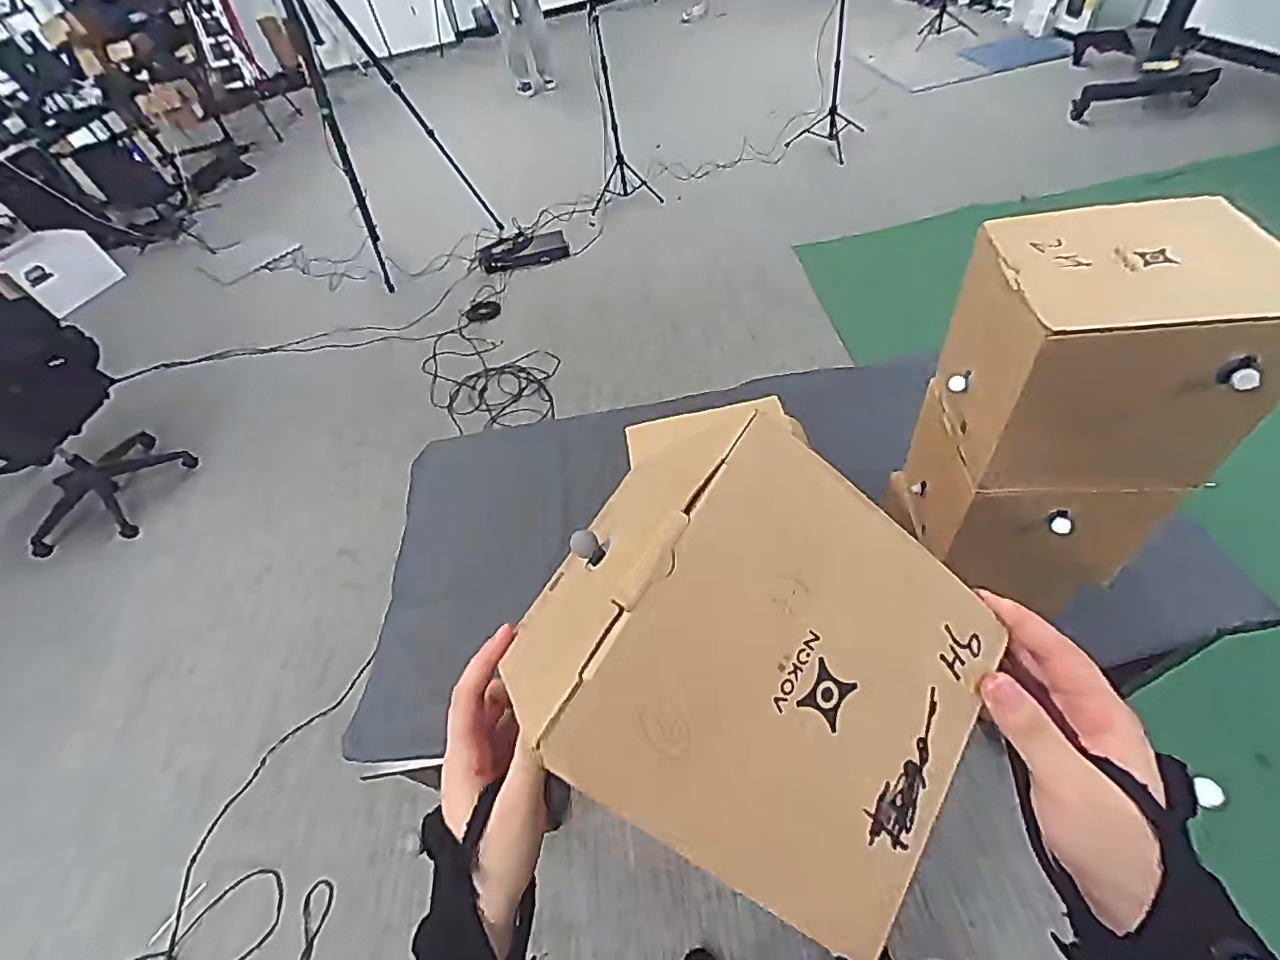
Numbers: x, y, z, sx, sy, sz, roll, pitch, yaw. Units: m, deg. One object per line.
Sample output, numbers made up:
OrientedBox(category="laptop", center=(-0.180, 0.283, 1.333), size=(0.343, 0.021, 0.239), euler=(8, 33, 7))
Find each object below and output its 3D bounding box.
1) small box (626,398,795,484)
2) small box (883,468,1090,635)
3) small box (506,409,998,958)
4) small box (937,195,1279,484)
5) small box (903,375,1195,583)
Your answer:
OrientedBox(category="small box", center=(0.088, 0.036, 0.611), size=(0.179, 0.176, 0.168), euler=(-11, 49, 4))
OrientedBox(category="small box", center=(0.429, 0.091, 0.709), size=(0.168, 0.176, 0.179), euler=(-11, 49, 4))
OrientedBox(category="small box", center=(0.043, 0.093, 0.306), size=(0.179, 0.176, 0.168), euler=(39, 72, -10))
OrientedBox(category="small box", center=(0.378, -0.109, 0.455), size=(0.179, 0.176, 0.168), euler=(-1, 50, 13))
OrientedBox(category="small box", center=(0.403, -0.001, 0.578), size=(0.179, 0.176, 0.168), euler=(-2, 50, 12))
